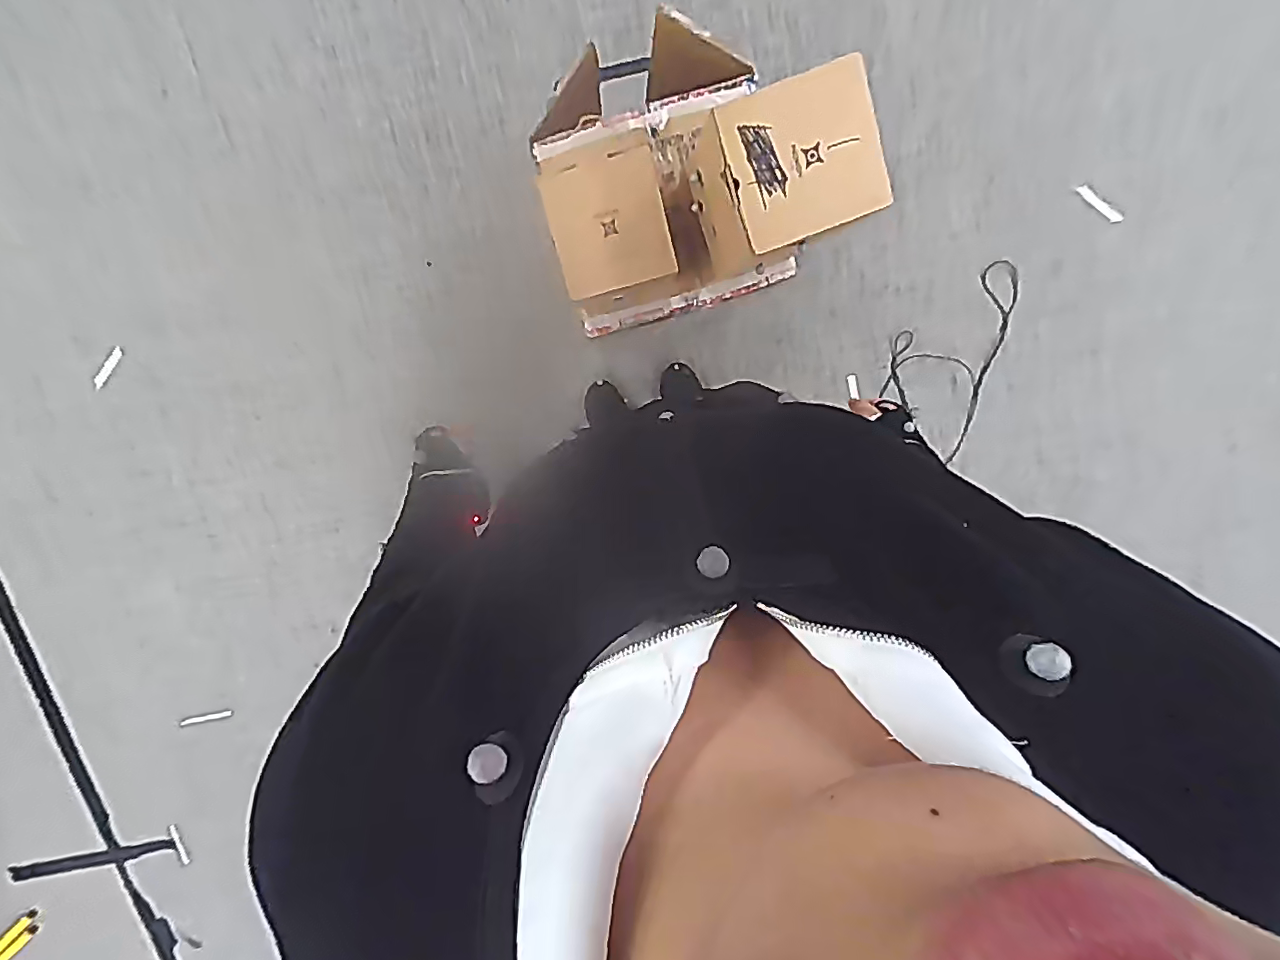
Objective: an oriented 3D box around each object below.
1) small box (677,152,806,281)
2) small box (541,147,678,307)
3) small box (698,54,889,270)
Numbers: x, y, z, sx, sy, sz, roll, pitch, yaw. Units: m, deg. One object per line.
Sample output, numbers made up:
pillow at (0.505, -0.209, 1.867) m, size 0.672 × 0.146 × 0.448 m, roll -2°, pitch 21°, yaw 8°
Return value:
small box at (0.173, -0.432, 0.857) m, size 0.179 × 0.176 × 0.168 m, roll -20°, pitch 104°, yaw 1°
small box at (-0.045, -0.386, 0.858) m, size 0.168 × 0.176 × 0.179 m, roll -16°, pitch 105°, yaw 3°
small box at (0.182, -0.388, 0.697) m, size 0.179 × 0.176 × 0.168 m, roll -20°, pitch 104°, yaw 2°
